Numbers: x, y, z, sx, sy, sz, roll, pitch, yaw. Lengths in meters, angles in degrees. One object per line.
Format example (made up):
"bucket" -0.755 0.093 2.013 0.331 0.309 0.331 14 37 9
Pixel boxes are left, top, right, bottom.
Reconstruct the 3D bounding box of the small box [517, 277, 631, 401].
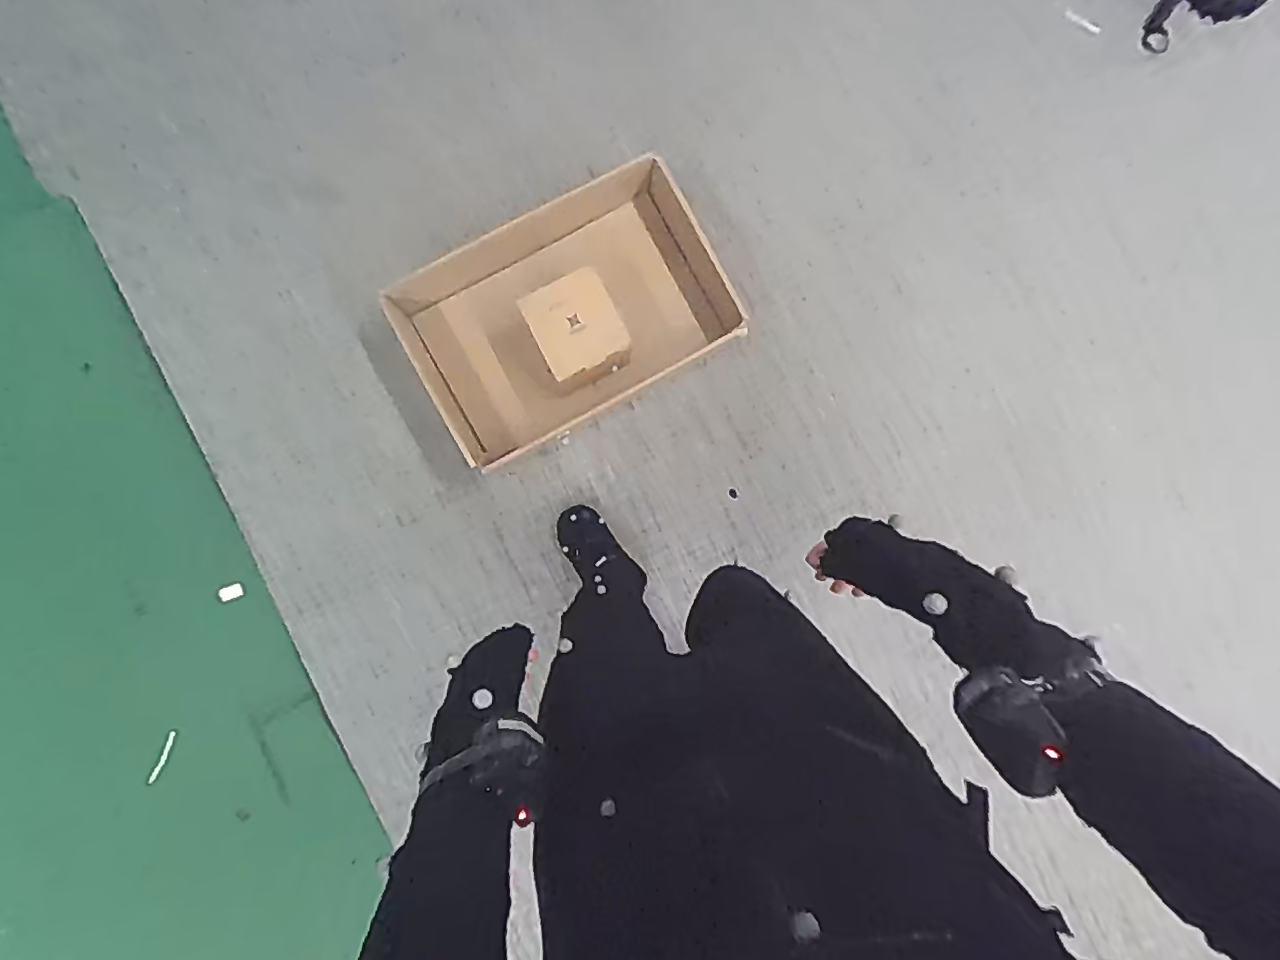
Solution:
"small box" -0.130 -0.275 1.109 0.168 0.176 0.179 -28 89 -6
